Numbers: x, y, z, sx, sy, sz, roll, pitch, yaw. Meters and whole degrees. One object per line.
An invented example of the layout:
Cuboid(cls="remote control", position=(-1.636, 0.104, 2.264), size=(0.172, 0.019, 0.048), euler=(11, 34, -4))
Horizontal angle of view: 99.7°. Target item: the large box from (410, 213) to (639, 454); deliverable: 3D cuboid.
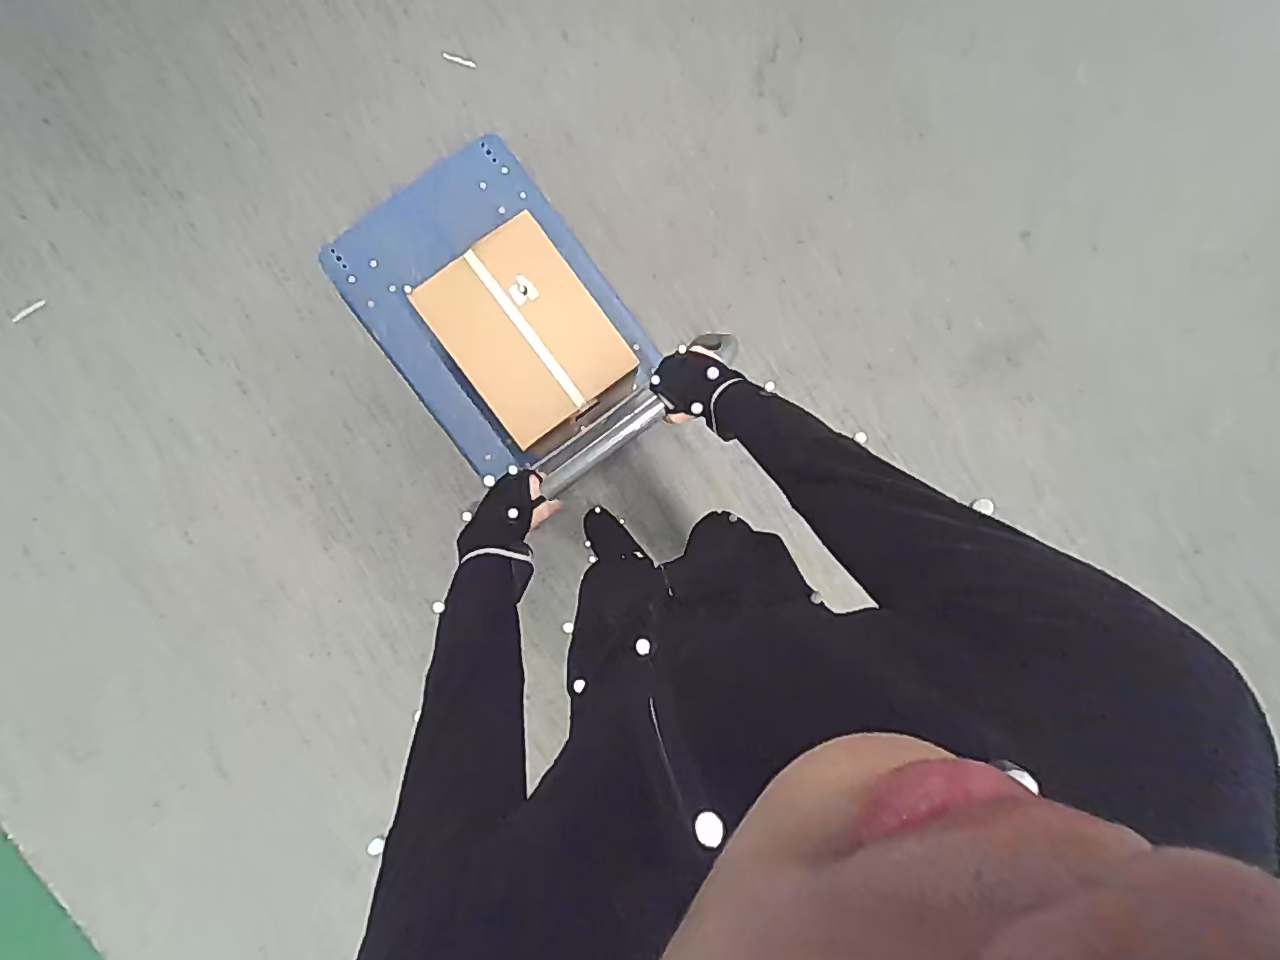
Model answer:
Cuboid(cls="large box", position=(-0.244, -0.314, 1.278), size=(0.320, 0.320, 0.408), euler=(-37, 91, -3))
